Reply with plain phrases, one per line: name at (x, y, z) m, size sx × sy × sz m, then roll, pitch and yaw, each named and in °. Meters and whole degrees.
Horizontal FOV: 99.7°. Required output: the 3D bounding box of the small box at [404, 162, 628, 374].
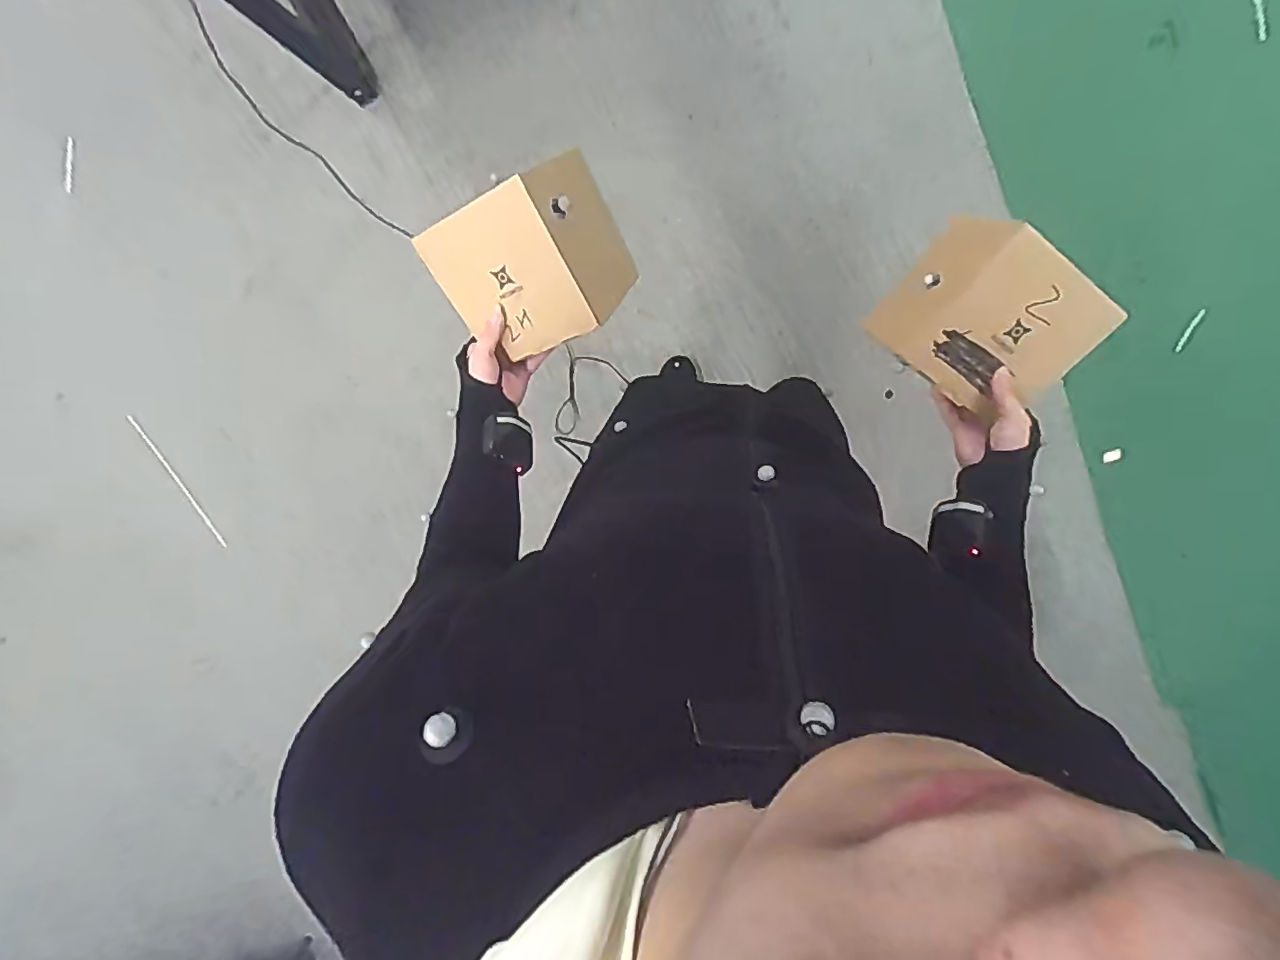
small box at (-0.138, -0.264, 0.664) m, size 0.168 × 0.176 × 0.179 m, roll -13°, pitch 124°, yaw 28°

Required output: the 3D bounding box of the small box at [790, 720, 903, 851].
small box at (0.441, 0.654, 1.181) m, size 0.168 × 0.176 × 0.179 m, roll -18°, pitch 104°, yaw 7°
